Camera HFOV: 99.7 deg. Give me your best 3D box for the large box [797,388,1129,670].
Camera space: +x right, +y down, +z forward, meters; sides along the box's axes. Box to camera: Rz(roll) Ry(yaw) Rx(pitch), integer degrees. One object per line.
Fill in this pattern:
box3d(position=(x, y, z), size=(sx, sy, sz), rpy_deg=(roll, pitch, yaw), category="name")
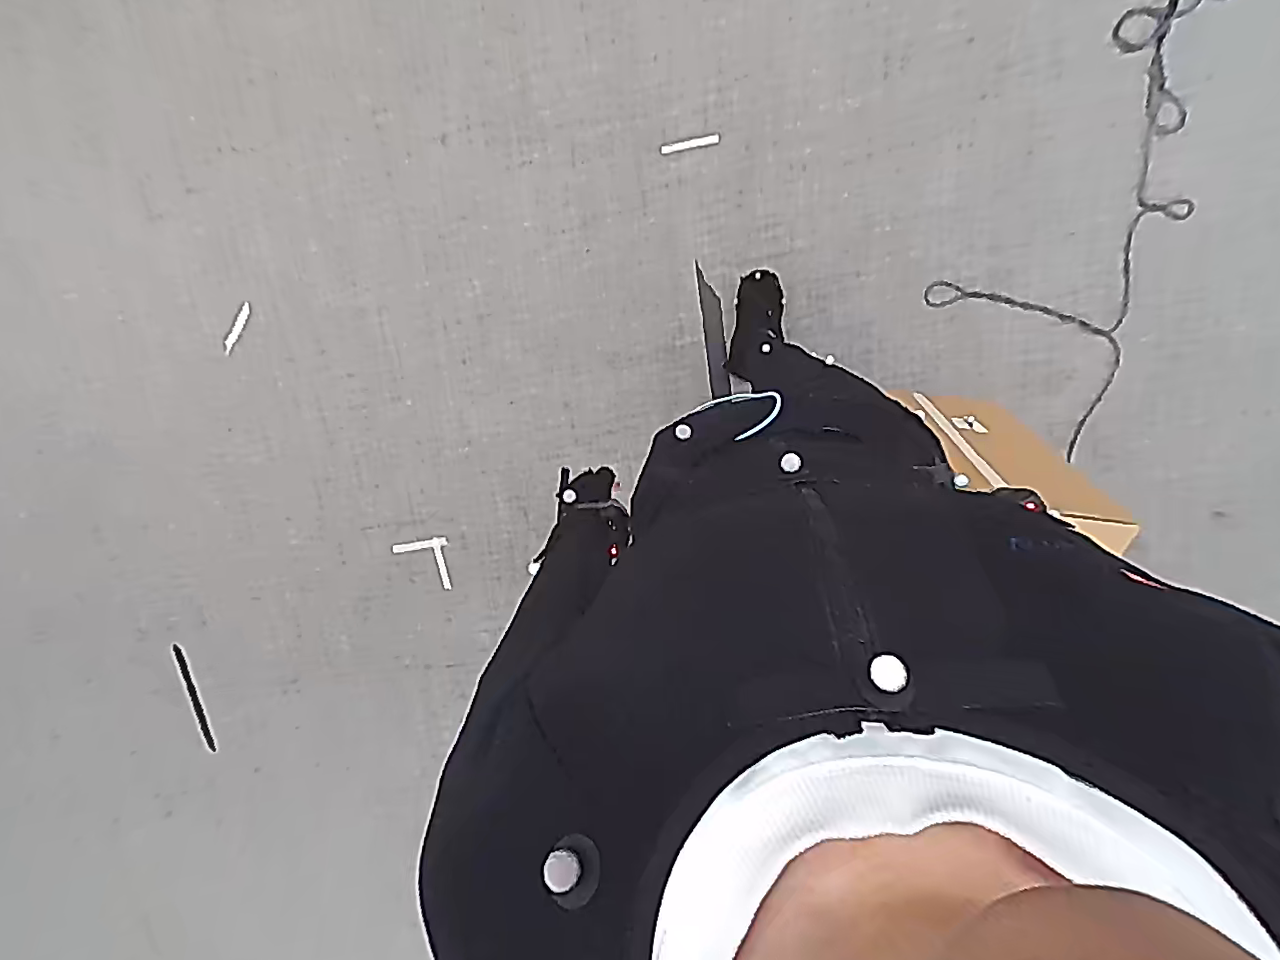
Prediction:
box3d(position=(0.489, 0.064, 0.945), size=(0.320, 0.408, 0.320), rpy_deg=(7, 120, 2), category="large box")
